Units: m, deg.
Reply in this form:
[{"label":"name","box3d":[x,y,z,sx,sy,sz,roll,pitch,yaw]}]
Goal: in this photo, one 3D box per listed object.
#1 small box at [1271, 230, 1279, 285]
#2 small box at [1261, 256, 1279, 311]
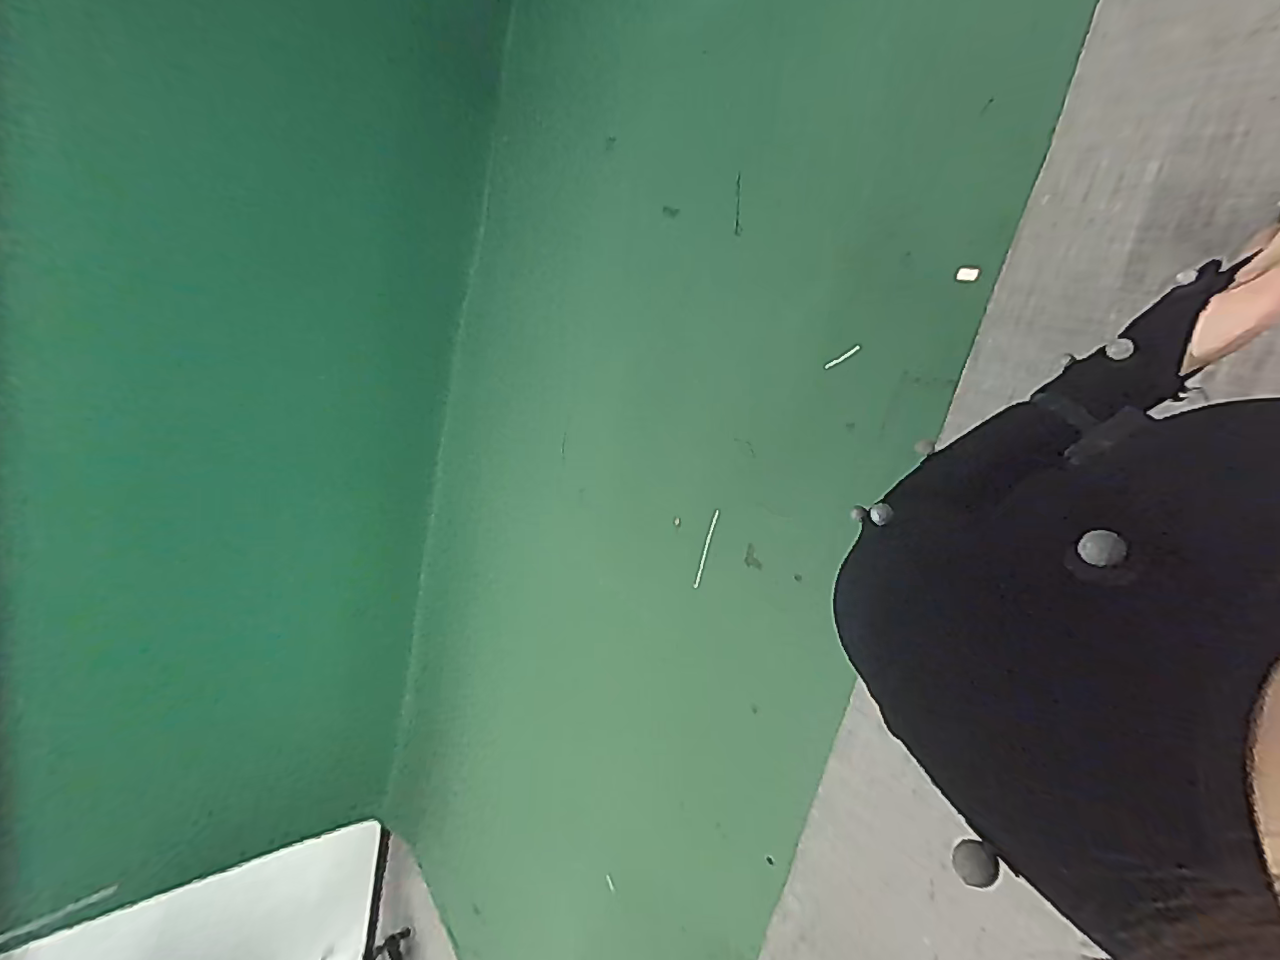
[{"label":"small box","box3d":[1.061,-0.394,0.781,0.168,0.176,0.179,21,104,47]},{"label":"small box","box3d":[1.176,-0.386,0.895,0.168,0.176,0.179,20,103,46]}]
